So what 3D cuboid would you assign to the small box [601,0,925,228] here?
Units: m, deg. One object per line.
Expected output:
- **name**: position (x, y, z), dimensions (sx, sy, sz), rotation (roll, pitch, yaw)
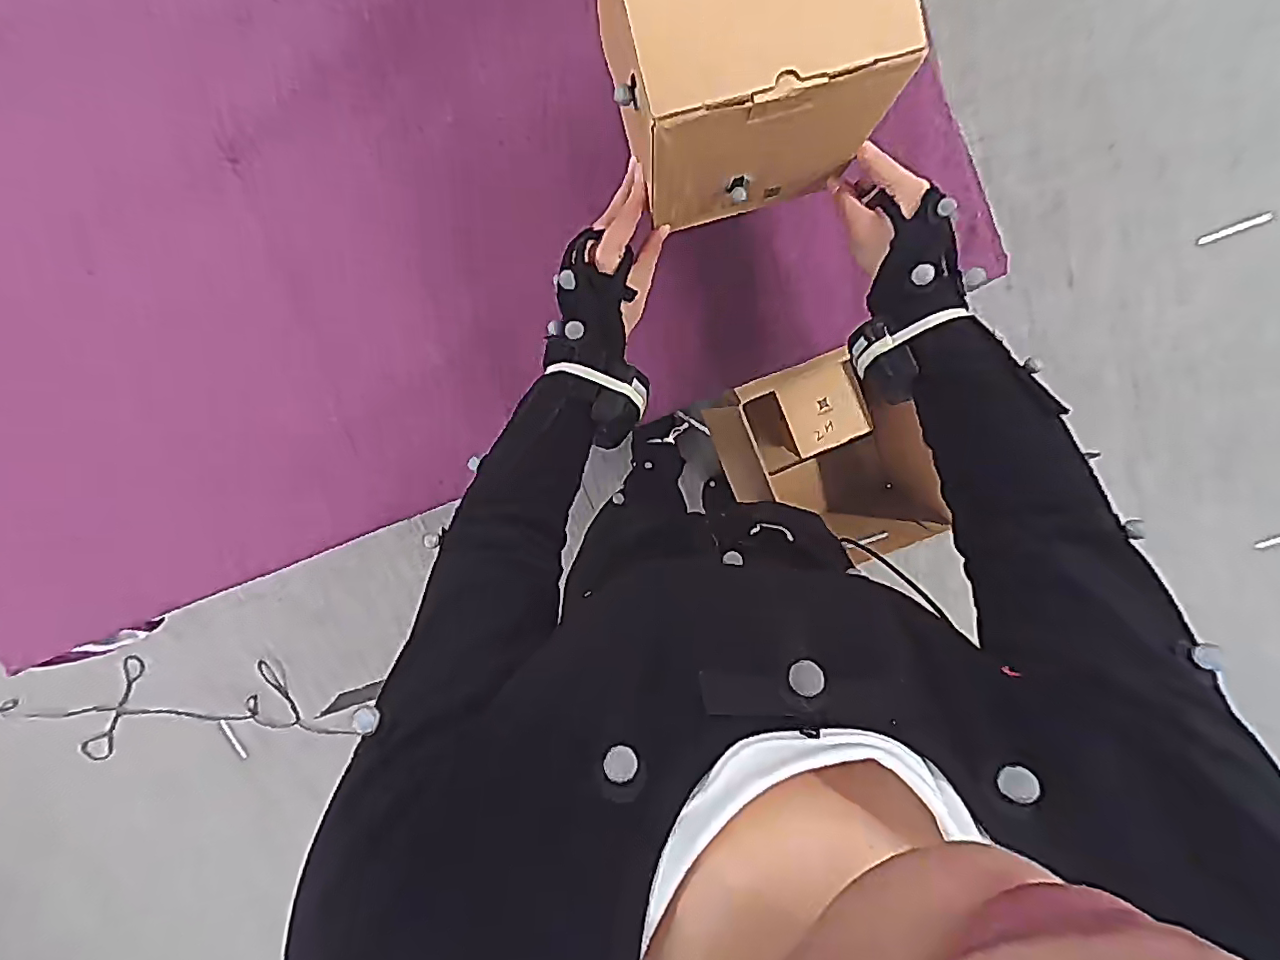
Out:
- **small box**: position (0.066, -0.316, 0.388), dimensions (0.168, 0.176, 0.179), rotation (-15, 94, 2)
